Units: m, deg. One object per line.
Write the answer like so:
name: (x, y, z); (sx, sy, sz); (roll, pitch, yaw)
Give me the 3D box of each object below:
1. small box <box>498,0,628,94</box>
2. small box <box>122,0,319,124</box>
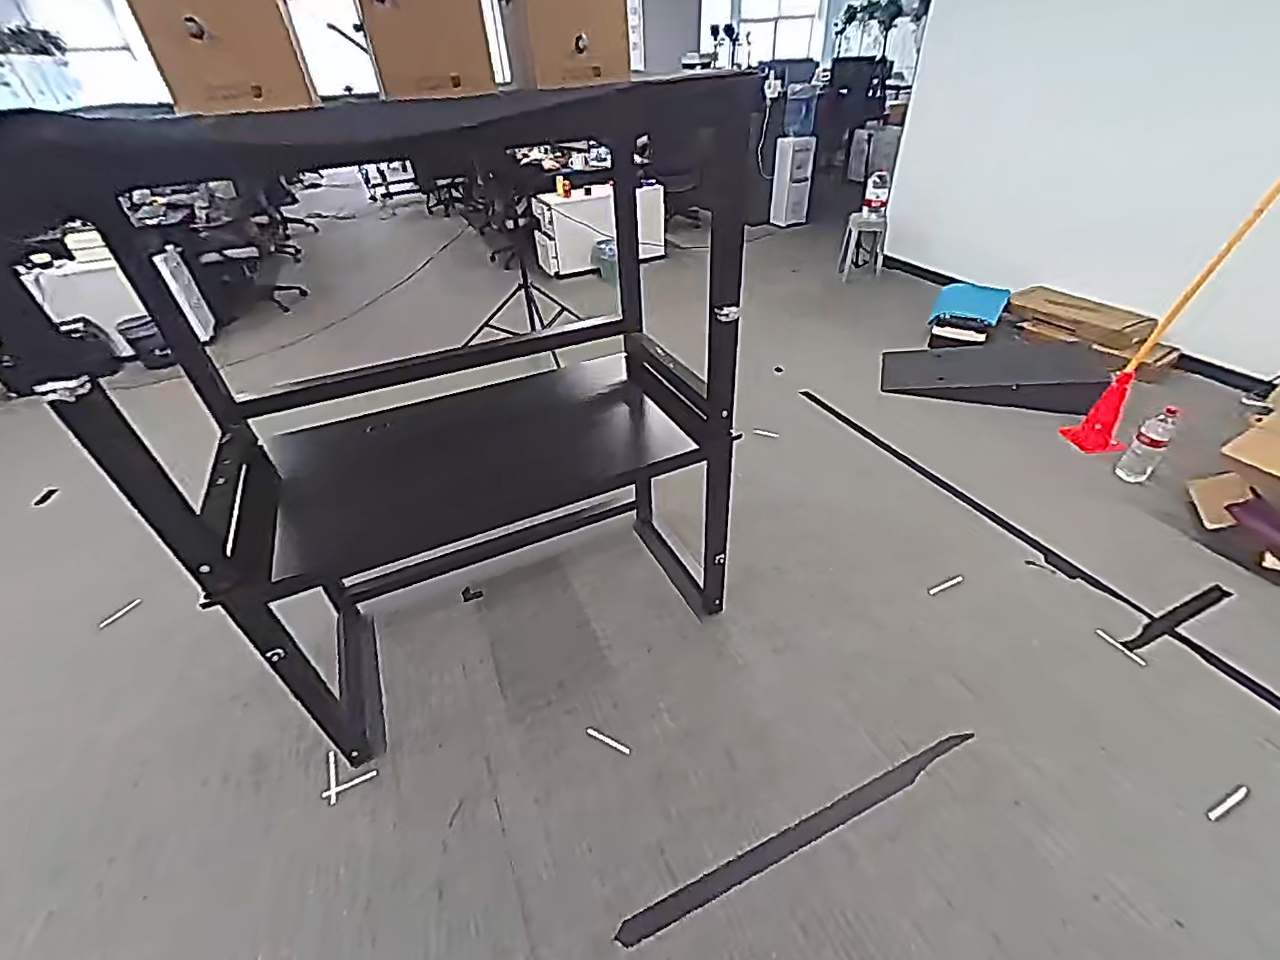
small box: (-0.129, -0.739, 0.885); (0.168, 0.176, 0.179); (-18, 40, -16)
small box: (-0.574, -0.607, 0.756); (0.168, 0.176, 0.179); (-16, 38, -16)
